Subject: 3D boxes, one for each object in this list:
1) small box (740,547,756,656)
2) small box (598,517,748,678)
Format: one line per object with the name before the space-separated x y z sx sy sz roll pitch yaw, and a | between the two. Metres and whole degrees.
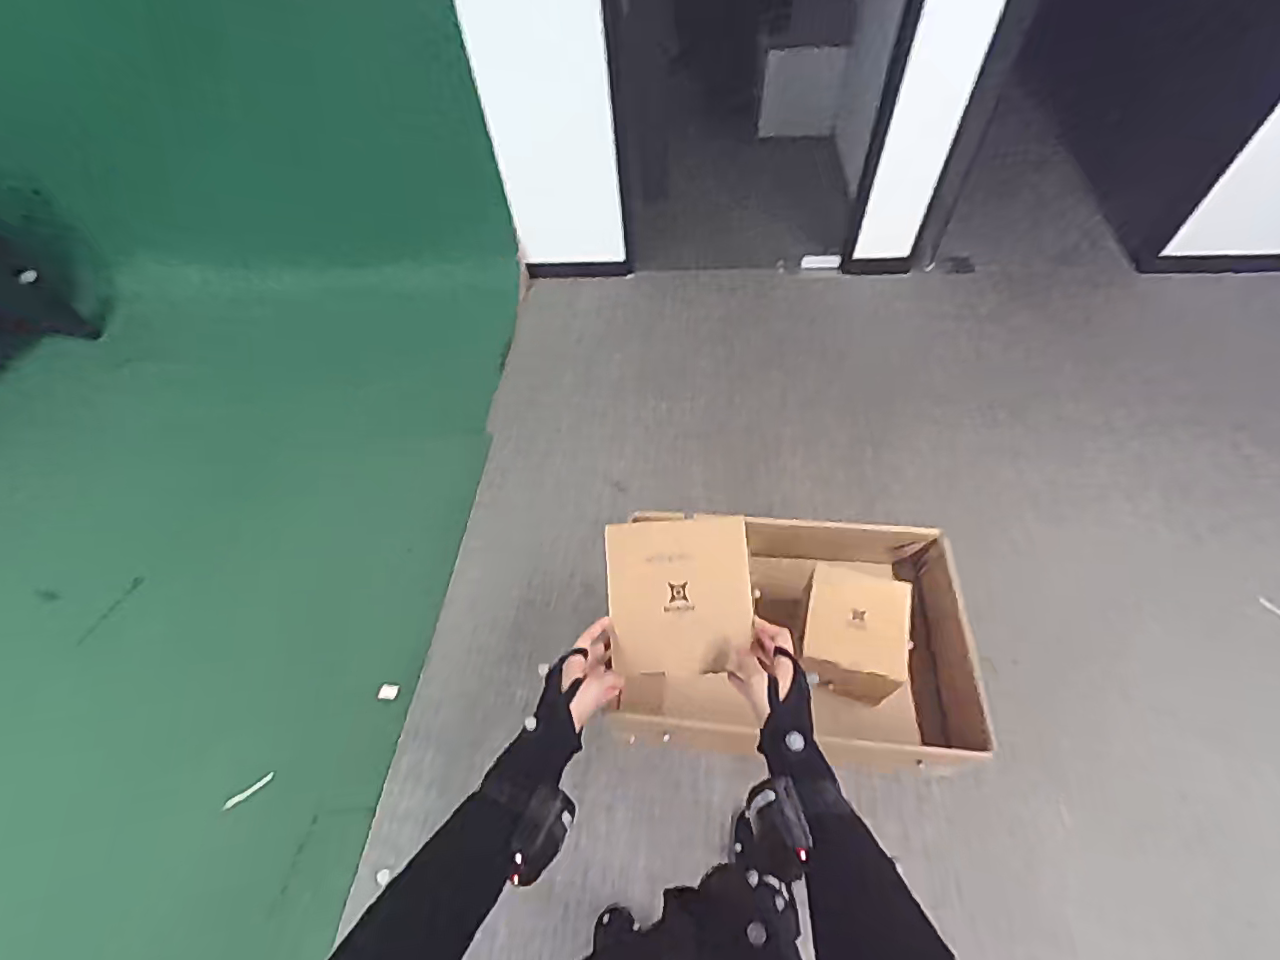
small box | 0.123 0.238 1.021 0.168 0.176 0.179 1 56 5
small box | 0.043 0.142 0.689 0.168 0.176 0.179 -4 81 5
